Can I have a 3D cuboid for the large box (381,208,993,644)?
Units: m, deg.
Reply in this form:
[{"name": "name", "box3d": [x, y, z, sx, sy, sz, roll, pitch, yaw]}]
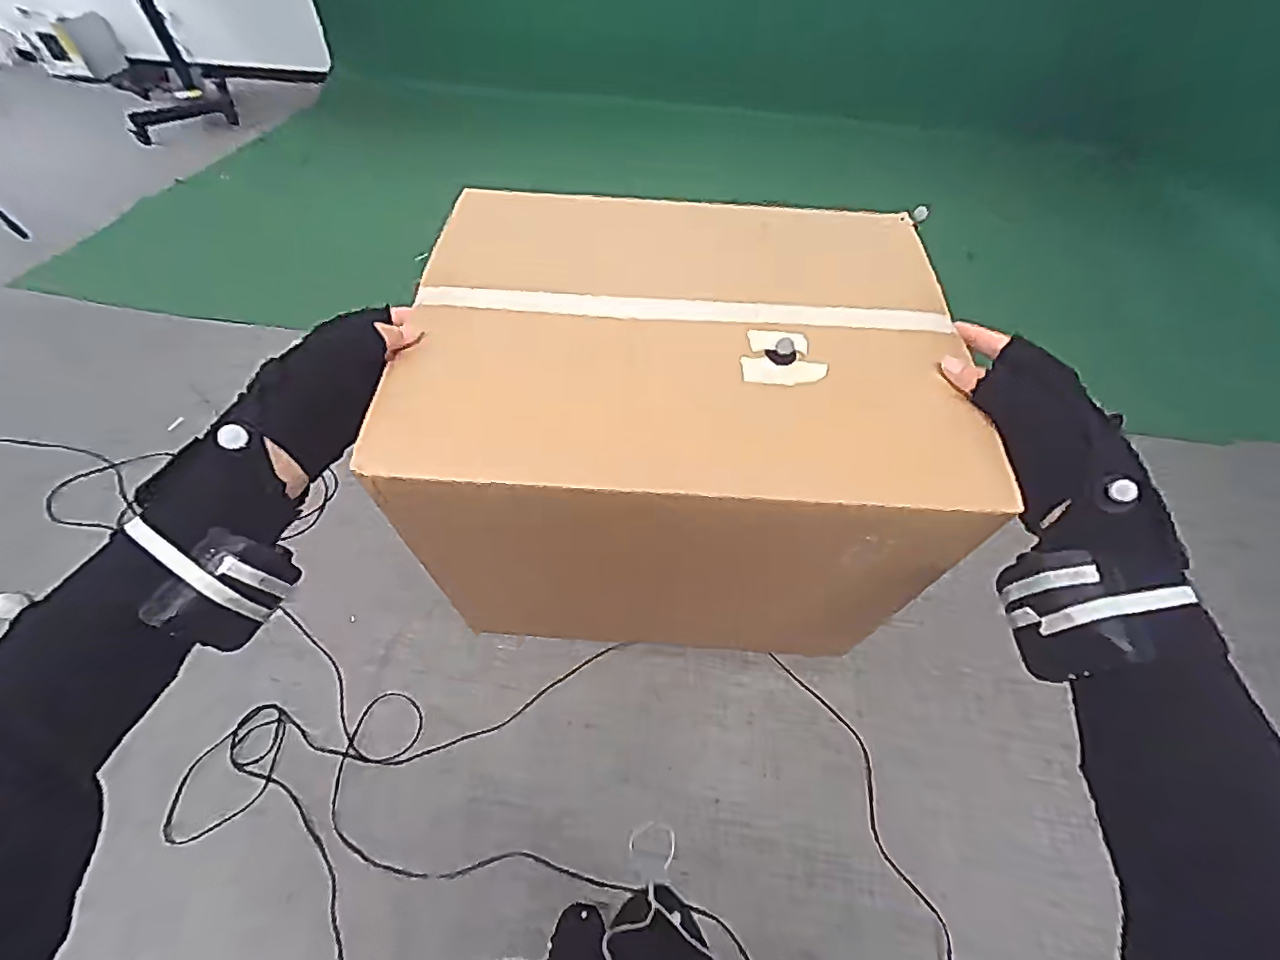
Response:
[{"name": "large box", "box3d": [0.030, -0.038, 0.549, 0.408, 0.320, 0.320, 4, 57, 0]}]
